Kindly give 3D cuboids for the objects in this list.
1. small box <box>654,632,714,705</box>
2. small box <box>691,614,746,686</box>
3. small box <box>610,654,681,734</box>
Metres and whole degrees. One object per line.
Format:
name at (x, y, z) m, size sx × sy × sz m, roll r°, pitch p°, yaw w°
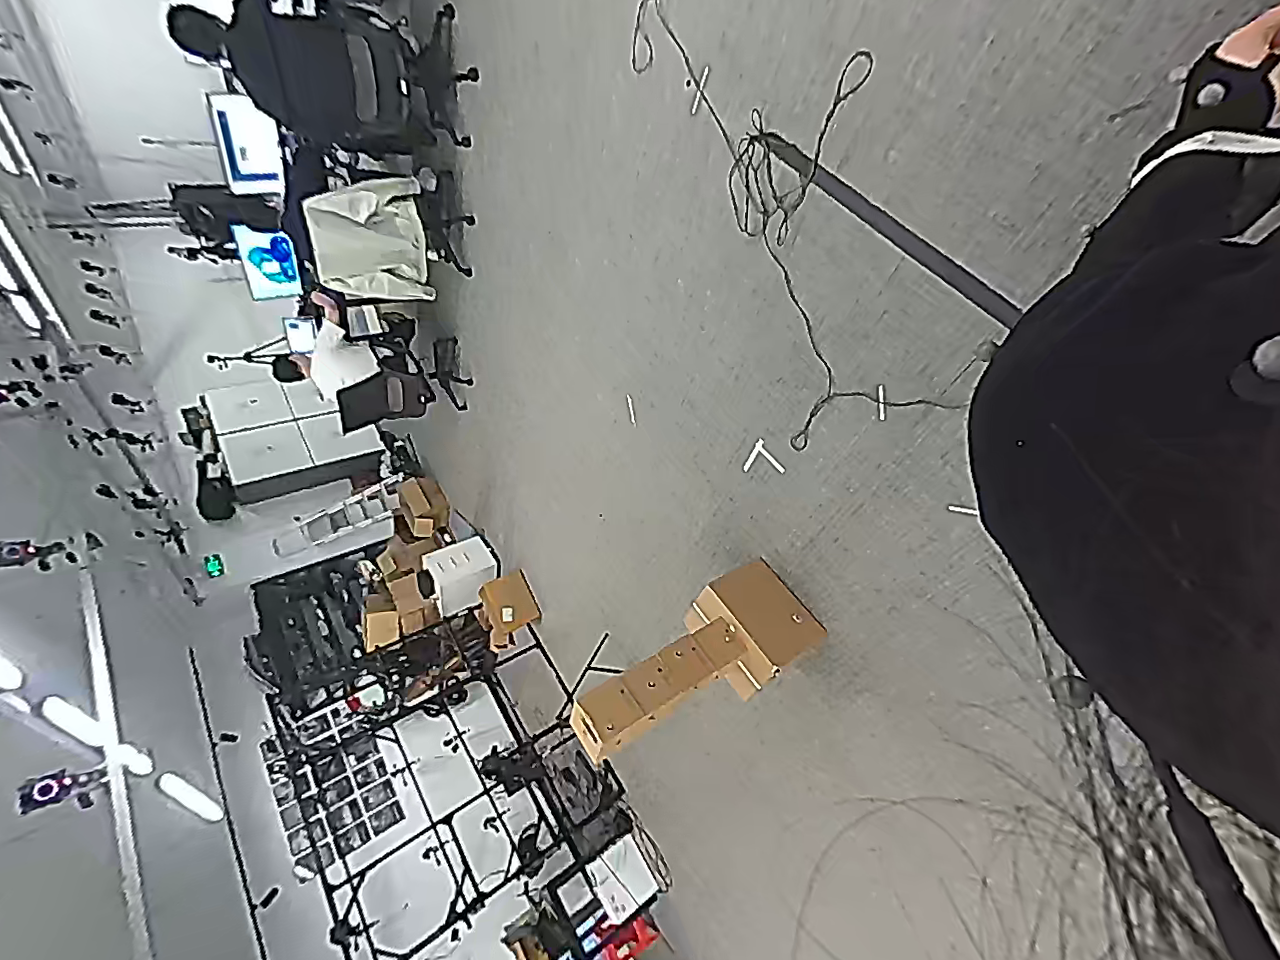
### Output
small box at (0.148, 0.686, 1.973) m, size 0.168 × 0.176 × 0.179 m, roll 50°, pitch 143°, yaw 28°
small box at (0.276, 0.646, 2.063) m, size 0.168 × 0.176 × 0.179 m, roll 50°, pitch 142°, yaw 26°
small box at (0.020, 0.740, 1.884) m, size 0.168 × 0.176 × 0.179 m, roll 48°, pitch 141°, yaw 32°
